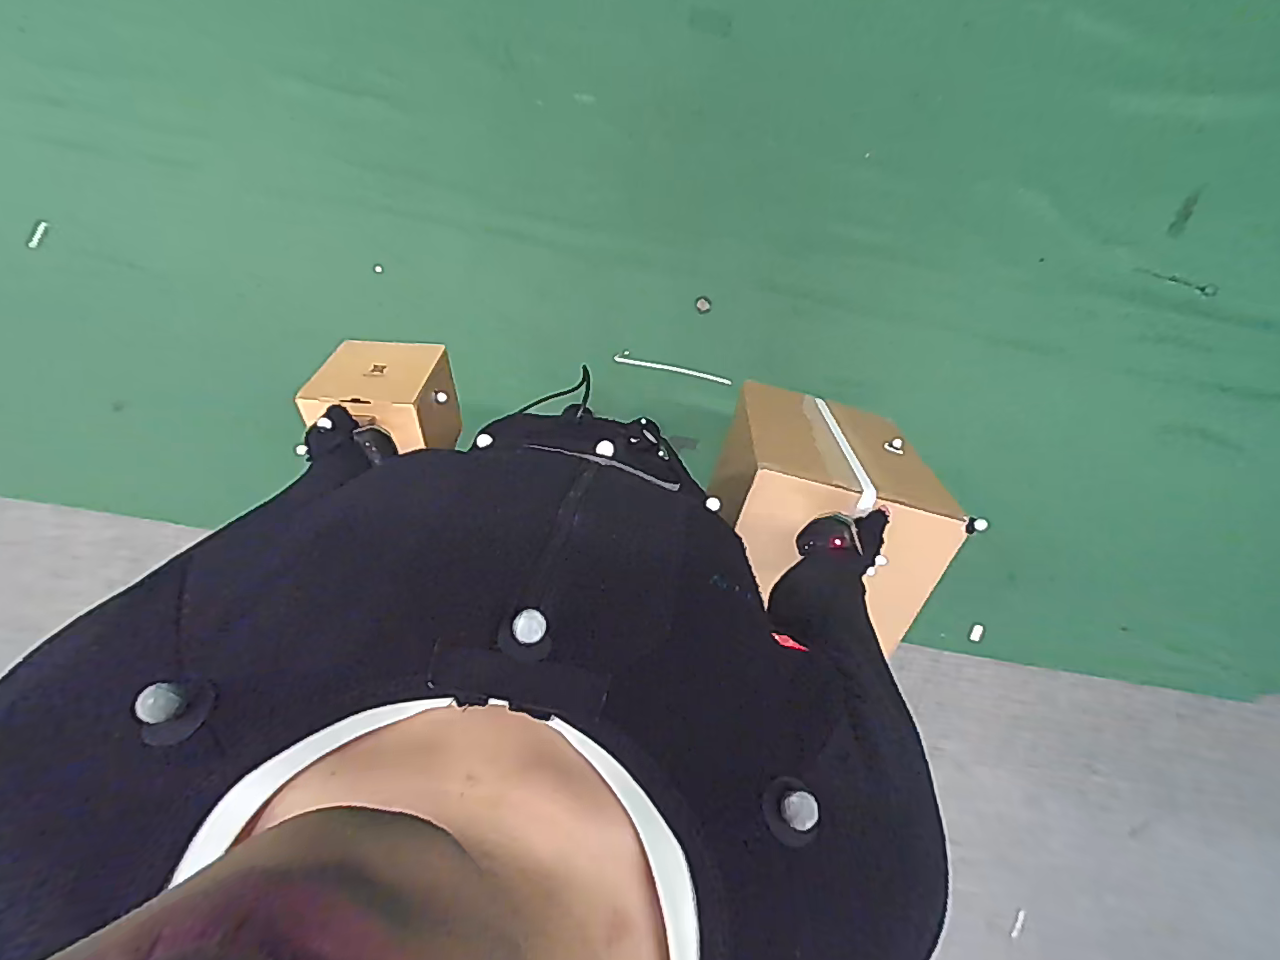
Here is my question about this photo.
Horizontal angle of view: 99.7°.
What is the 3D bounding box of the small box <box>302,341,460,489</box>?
[{"bbox_3d":[-0.403,-0.107,0.880,0.168,0.179,0.176,2,132,-2],"label":"small box"}]
